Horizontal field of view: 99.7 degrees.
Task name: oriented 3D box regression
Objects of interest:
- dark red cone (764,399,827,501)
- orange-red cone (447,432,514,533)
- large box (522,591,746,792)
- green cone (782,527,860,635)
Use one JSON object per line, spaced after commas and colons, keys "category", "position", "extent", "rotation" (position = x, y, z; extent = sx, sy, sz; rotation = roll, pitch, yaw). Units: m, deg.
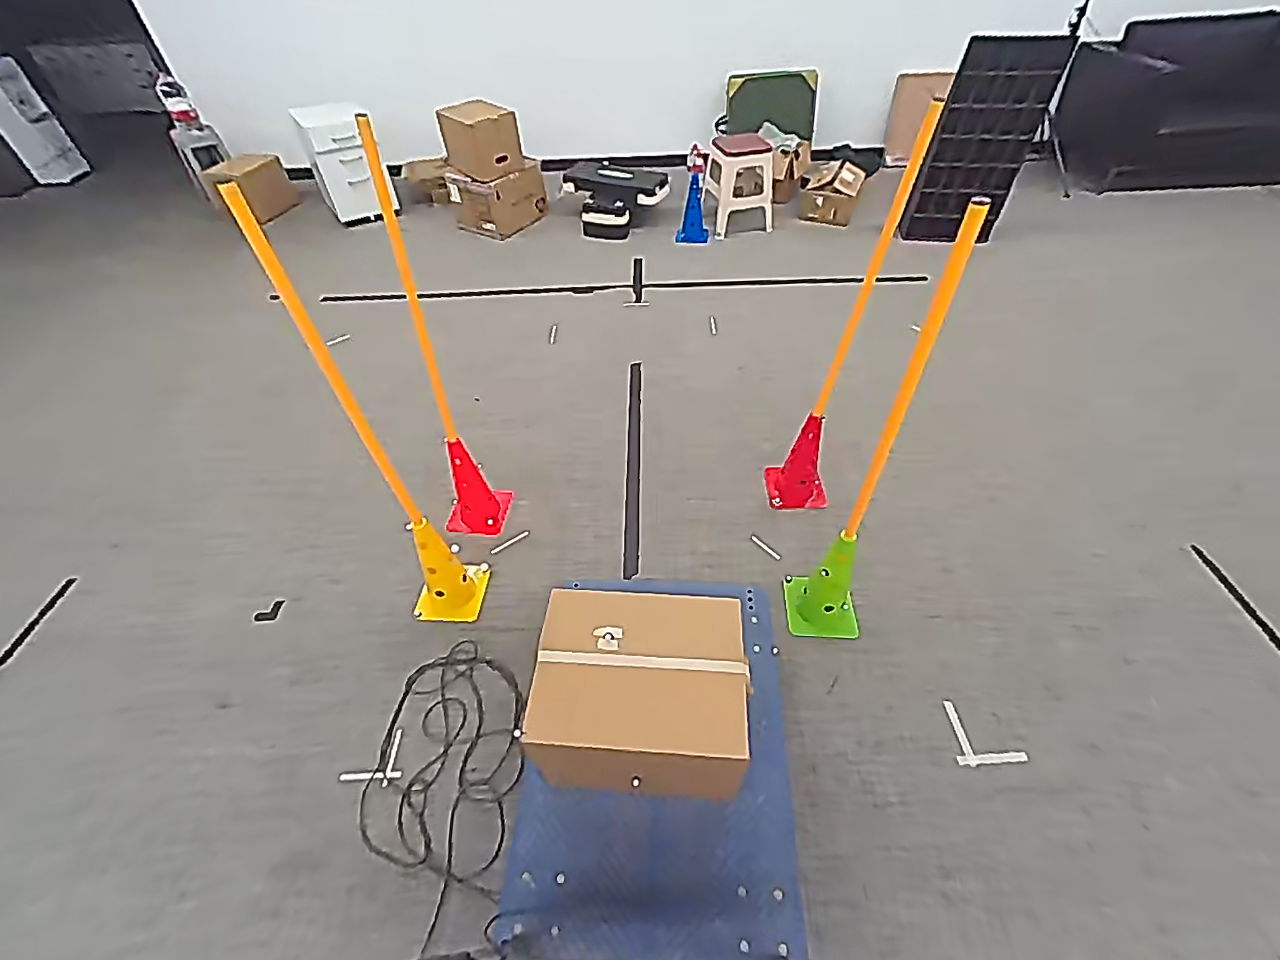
{"category": "dark red cone", "position": [0.561, -0.109, 1.831], "extent": [0.201, 0.394, 0.202], "rotation": [1, 48, 0]}
{"category": "orange-red cone", "position": [-0.569, -0.017, 1.807], "extent": [0.198, 0.360, 0.199], "rotation": [6, 47, 5]}
{"category": "large box", "position": [0.003, 0.456, 1.158], "extent": [0.408, 0.320, 0.320], "rotation": [2, 48, 5]}
{"category": "green cone", "position": [0.540, 0.260, 1.517], "extent": [0.202, 0.368, 0.200], "rotation": [3, 48, 3]}
